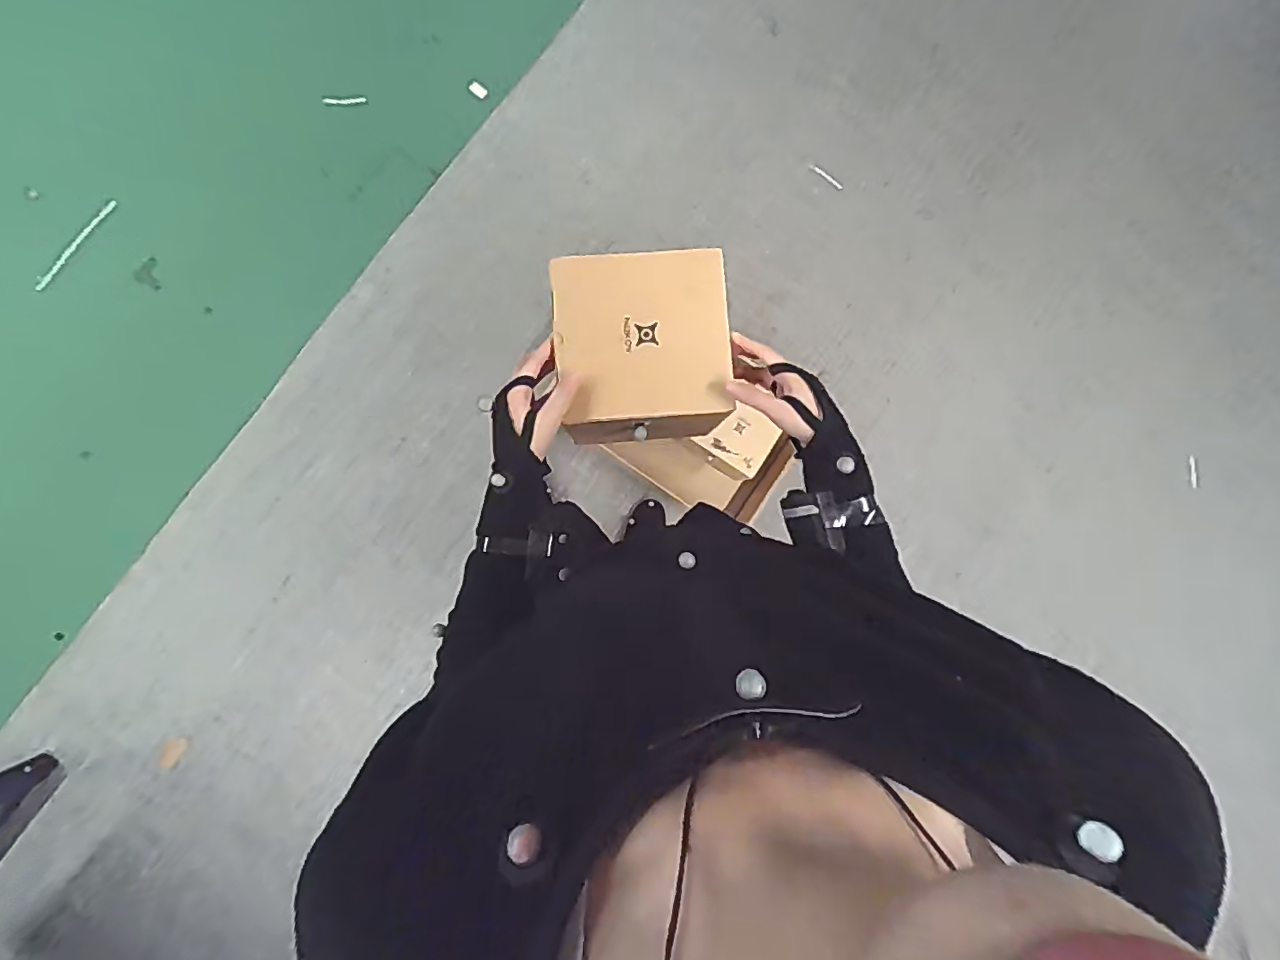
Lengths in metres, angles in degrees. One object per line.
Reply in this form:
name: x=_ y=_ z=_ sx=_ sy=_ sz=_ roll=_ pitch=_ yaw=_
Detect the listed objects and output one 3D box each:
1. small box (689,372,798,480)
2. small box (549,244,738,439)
small box: x=0.227 y=-0.116 z=1.246 sx=0.168 sy=0.176 sz=0.179 roll=33 pitch=87 yaw=0
small box: x=0.001 y=-0.143 z=0.609 sx=0.179 sy=0.176 sz=0.168 roll=-6 pitch=87 yaw=-1
